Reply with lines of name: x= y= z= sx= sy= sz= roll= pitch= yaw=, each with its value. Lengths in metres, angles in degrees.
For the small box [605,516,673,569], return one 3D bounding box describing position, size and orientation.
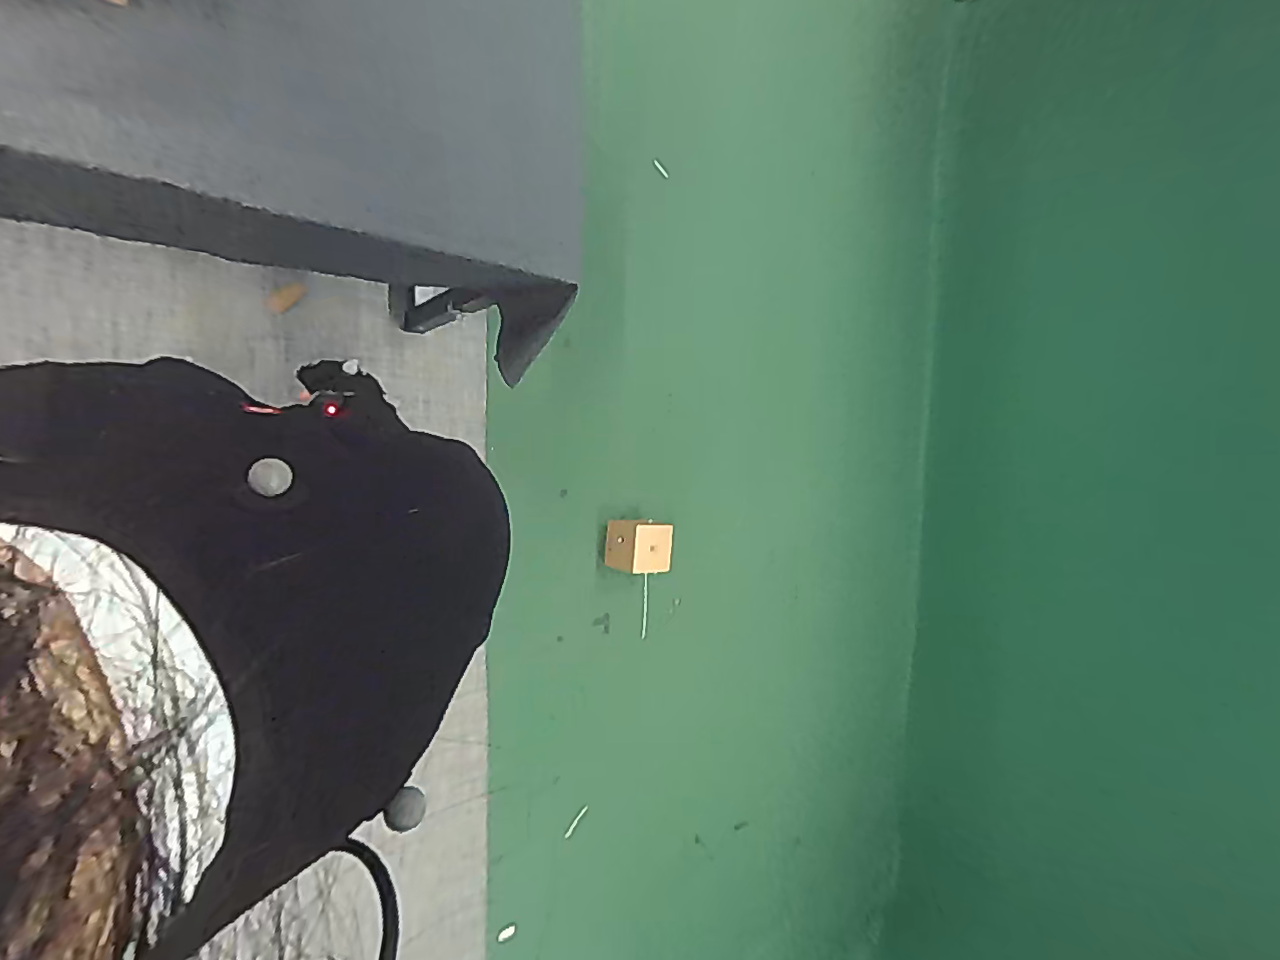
small box: x=-0.007 y=0.221 z=1.930 sx=0.179 sy=0.176 sz=0.168 roll=4 pitch=91 yaw=-42
